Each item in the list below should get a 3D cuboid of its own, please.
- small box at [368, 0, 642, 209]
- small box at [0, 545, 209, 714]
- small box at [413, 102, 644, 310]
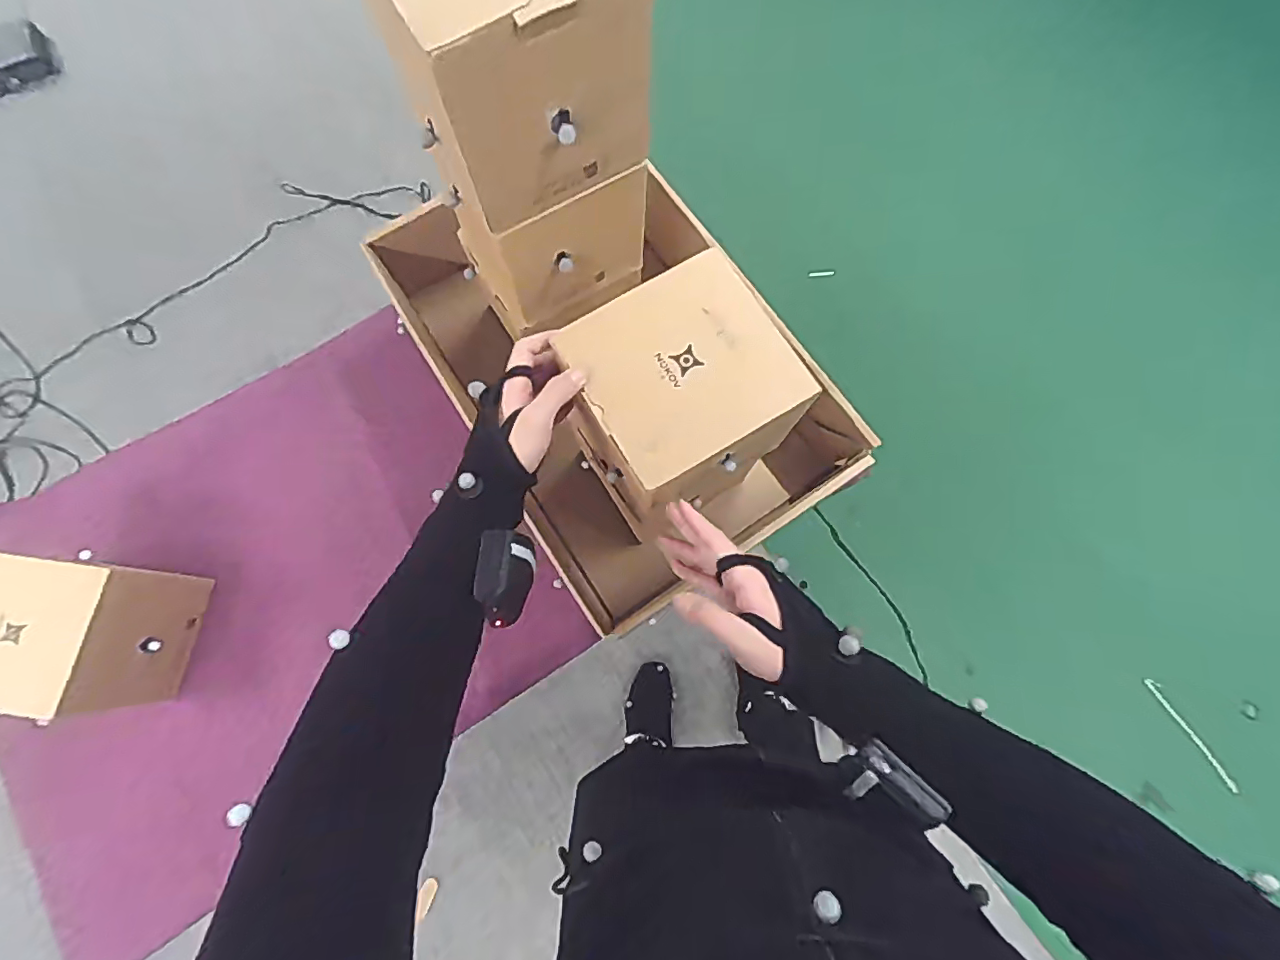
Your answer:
[{"bbox_3d":[-0.105,-0.354,0.432,0.168,0.176,0.179,-31,80,-8],"label":"small box"},{"bbox_3d":[-0.701,0.180,0.677,0.179,0.176,0.168,8,75,1],"label":"small box"},{"bbox_3d":[-0.107,-0.314,0.592,0.168,0.176,0.179,-31,79,-7],"label":"small box"}]
